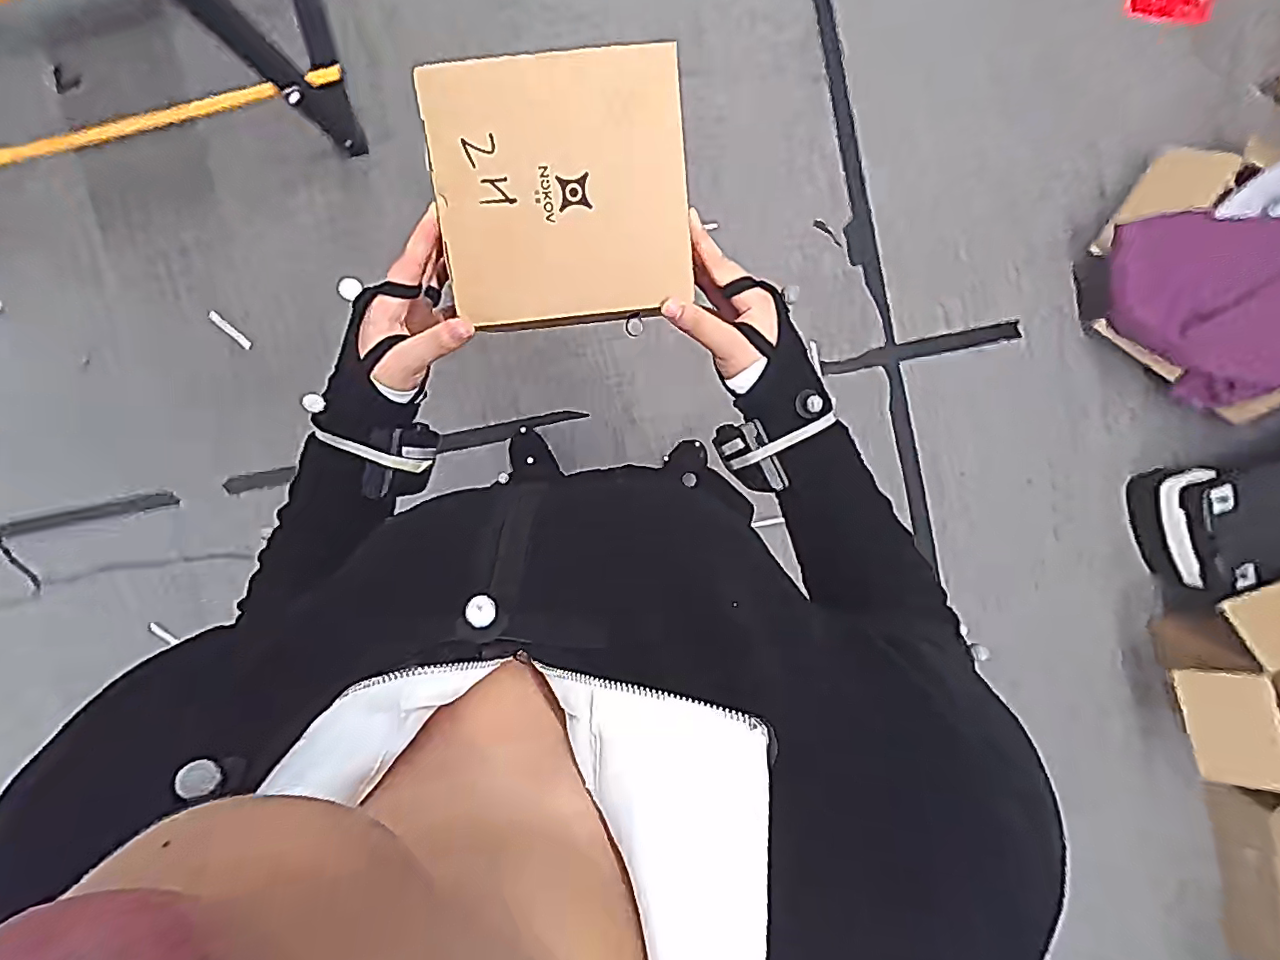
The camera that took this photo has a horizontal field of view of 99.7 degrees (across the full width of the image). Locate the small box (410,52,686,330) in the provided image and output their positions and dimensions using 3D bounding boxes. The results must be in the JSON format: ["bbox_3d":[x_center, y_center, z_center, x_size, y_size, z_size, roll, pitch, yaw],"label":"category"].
[{"bbox_3d":[-0.064,-0.219,0.455,0.179,0.176,0.168,-6,104,-1],"label":"small box"}]
